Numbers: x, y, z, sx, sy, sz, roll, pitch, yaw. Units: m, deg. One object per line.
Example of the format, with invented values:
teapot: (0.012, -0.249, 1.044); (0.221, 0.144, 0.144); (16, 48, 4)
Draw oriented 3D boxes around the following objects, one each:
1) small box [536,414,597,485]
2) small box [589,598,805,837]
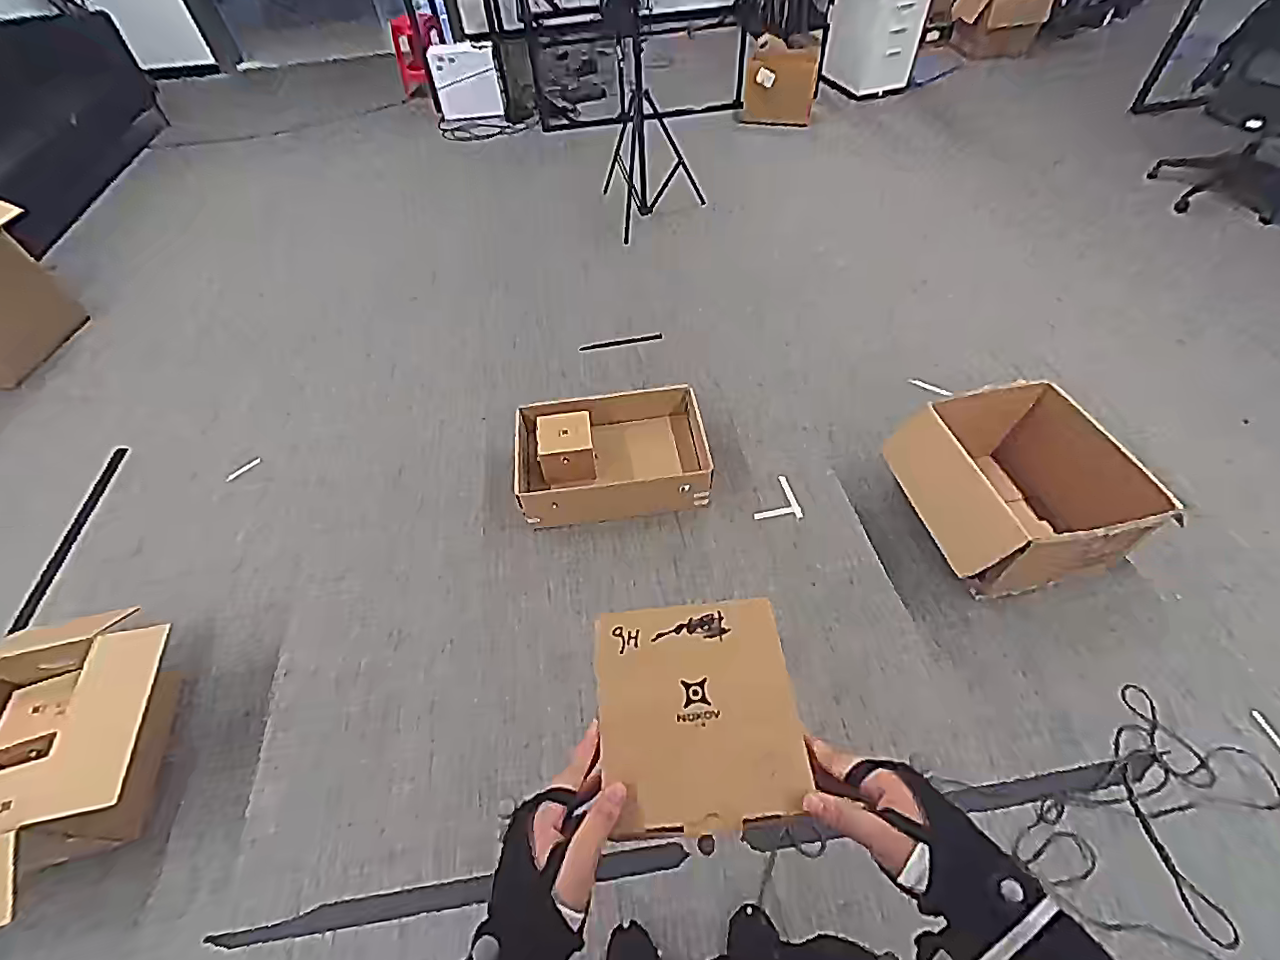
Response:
small box: (-0.246, -0.097, 1.821); (0.179, 0.176, 0.168); (-7, 54, -4)
small box: (0.043, 0.231, 0.520); (0.168, 0.176, 0.179); (-5, 56, -1)
